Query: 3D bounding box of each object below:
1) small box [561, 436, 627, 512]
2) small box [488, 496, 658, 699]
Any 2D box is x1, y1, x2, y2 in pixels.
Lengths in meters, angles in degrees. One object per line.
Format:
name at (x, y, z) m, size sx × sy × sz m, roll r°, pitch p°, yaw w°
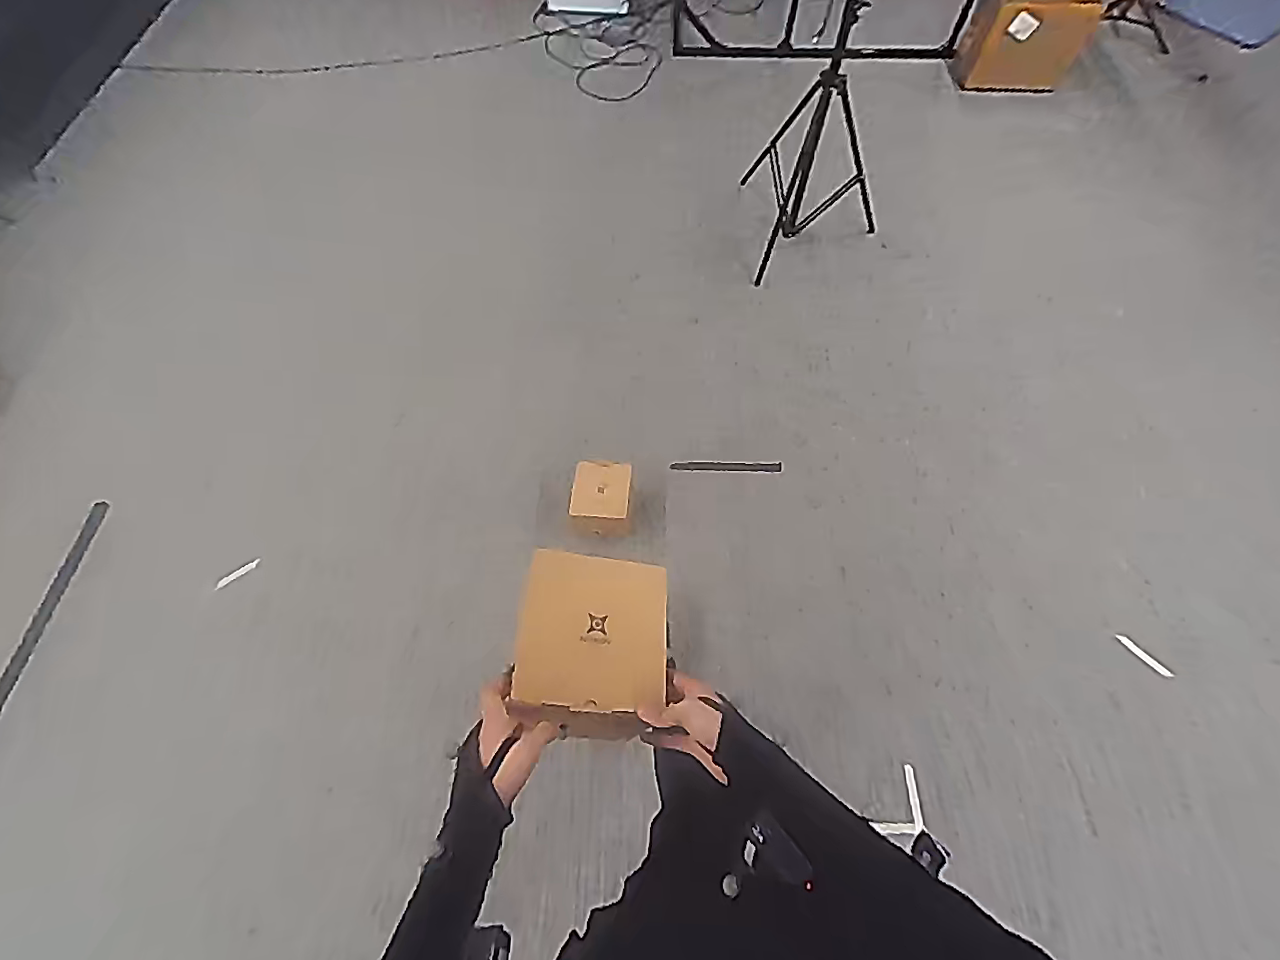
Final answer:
small box at (-0.127, -0.009, 1.587) m, size 0.168 × 0.176 × 0.179 m, roll 4°, pitch 64°, yaw 3°
small box at (-0.082, 0.145, 0.637) m, size 0.168 × 0.176 × 0.179 m, roll 10°, pitch 57°, yaw -13°
